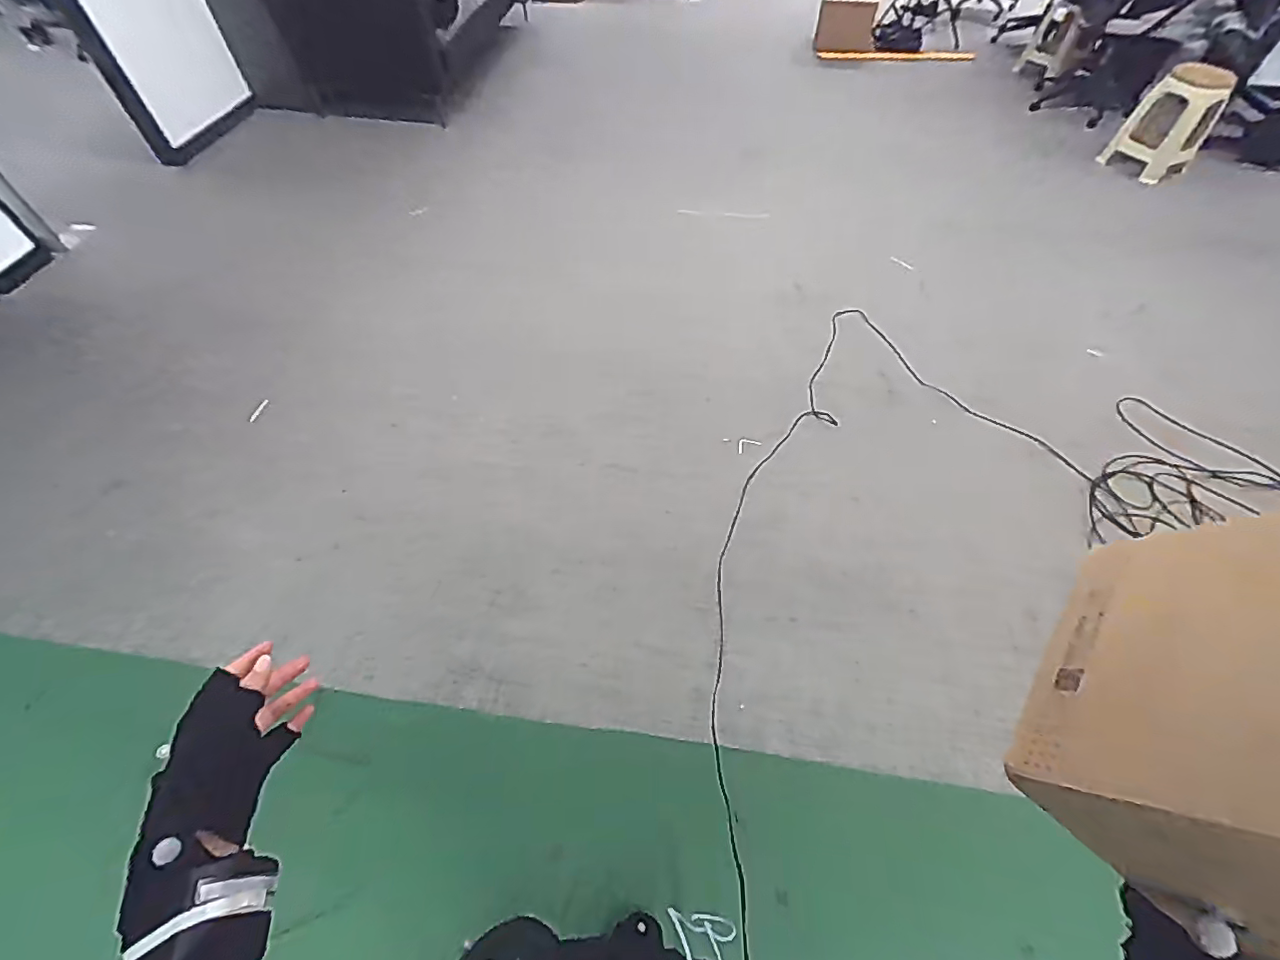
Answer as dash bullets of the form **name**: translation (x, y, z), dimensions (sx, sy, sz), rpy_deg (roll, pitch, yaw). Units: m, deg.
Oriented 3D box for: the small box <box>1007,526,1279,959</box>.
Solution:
- **small box**: translation (0.324, 0.129, 0.243), dimensions (0.179, 0.176, 0.168), rpy_deg (41, 68, 1)
